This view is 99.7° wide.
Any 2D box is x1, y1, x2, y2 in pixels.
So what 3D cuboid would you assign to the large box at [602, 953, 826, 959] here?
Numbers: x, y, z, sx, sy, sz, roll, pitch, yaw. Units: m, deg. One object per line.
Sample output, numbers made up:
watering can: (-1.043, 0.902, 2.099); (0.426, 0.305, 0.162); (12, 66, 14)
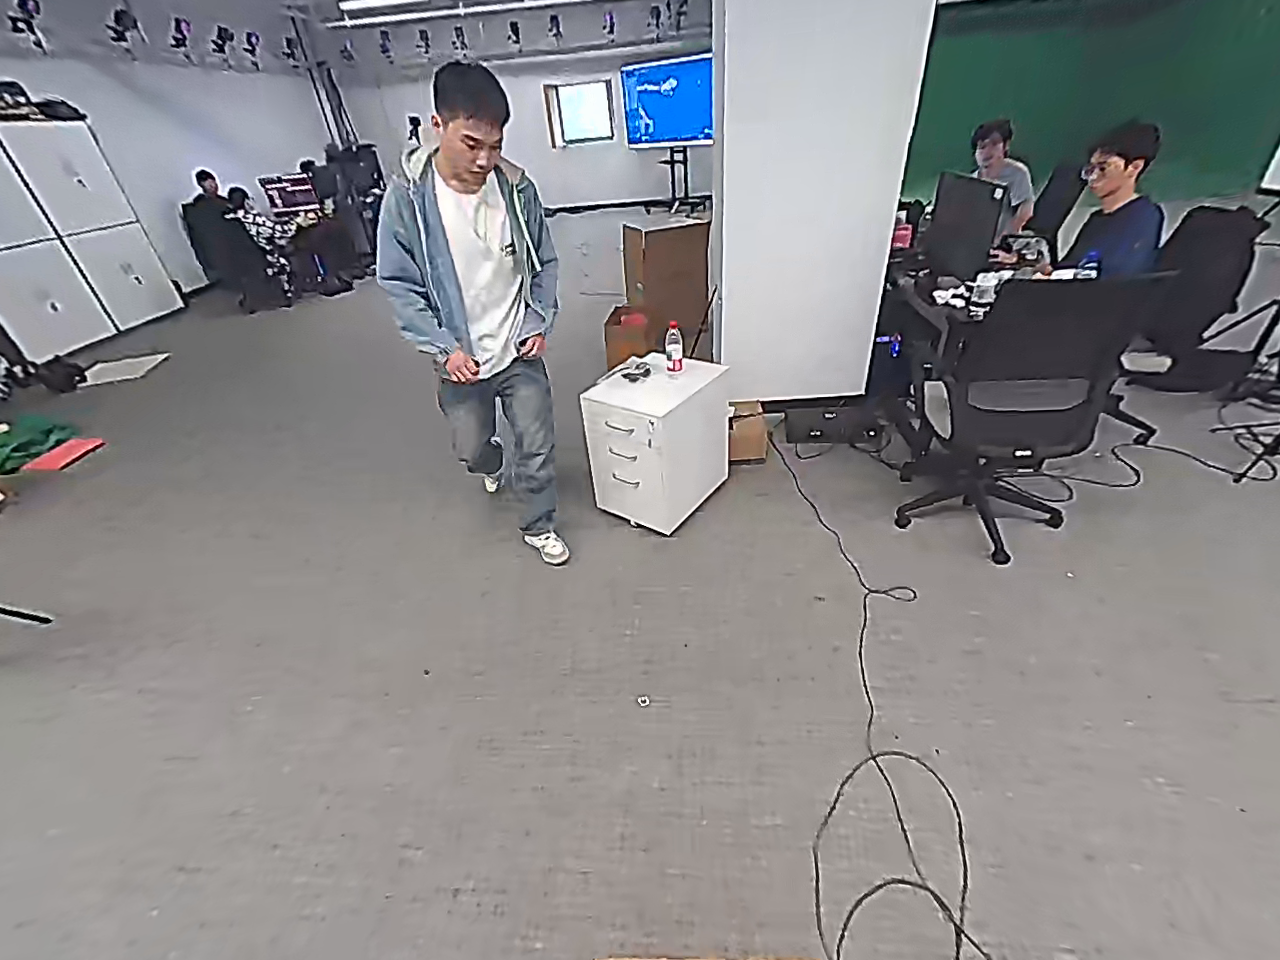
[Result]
large box: (0.132, 1.045, 0.905); (0.408, 0.320, 0.320); (-2, 34, 4)
